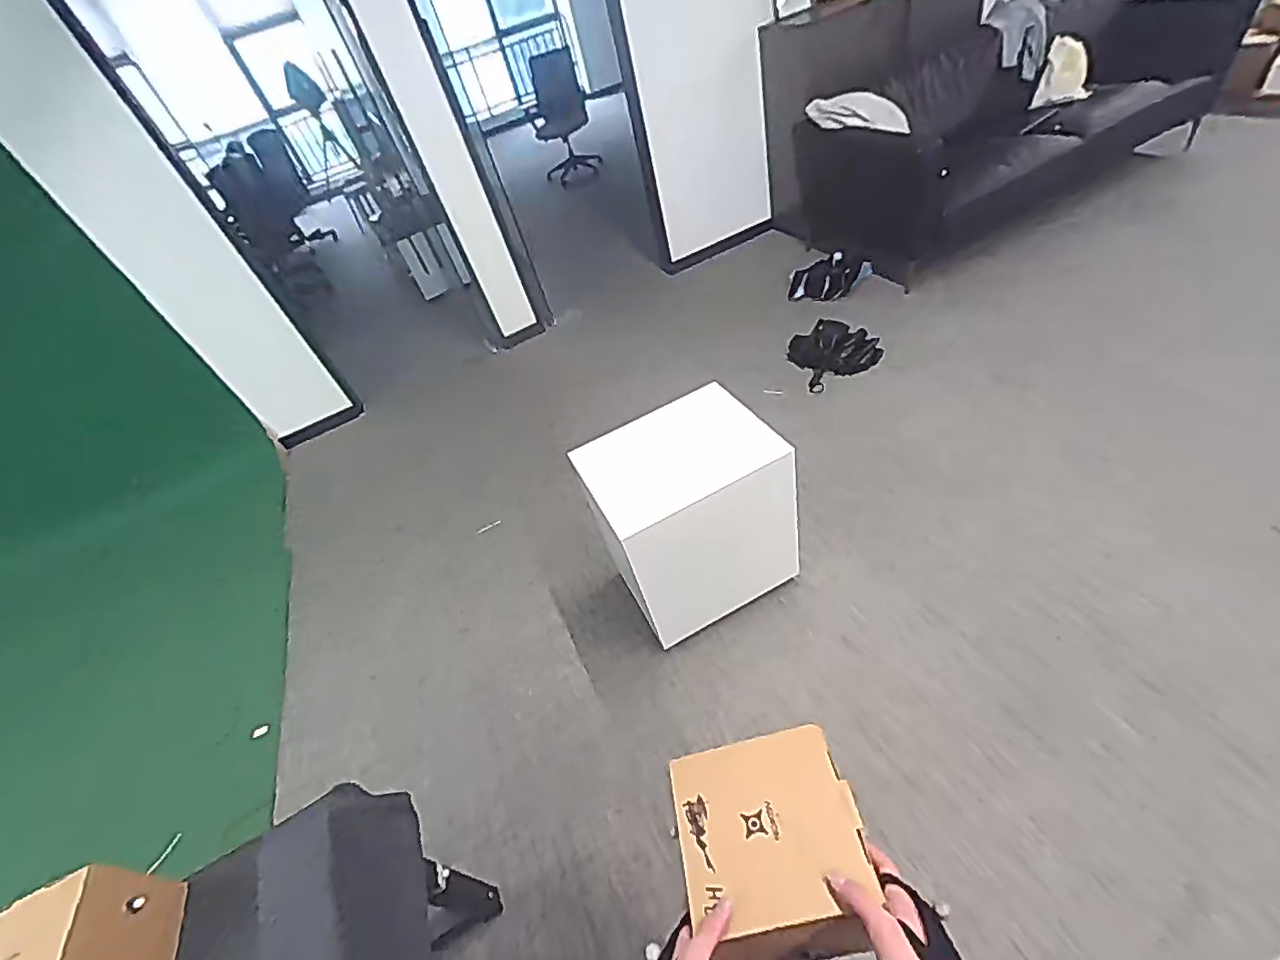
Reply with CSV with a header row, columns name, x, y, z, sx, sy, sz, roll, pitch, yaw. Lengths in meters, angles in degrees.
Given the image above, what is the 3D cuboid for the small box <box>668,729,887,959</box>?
name,x,y,z,sx,sy,sz,roll,pitch,yaw
small box,0.142,0.401,0.581,0.179,0.176,0.168,-17,38,6

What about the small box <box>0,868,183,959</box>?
name,x,y,z,sx,sy,sz,roll,pitch,yaw
small box,-0.753,0.658,0.708,0.168,0.176,0.179,-27,45,-8
